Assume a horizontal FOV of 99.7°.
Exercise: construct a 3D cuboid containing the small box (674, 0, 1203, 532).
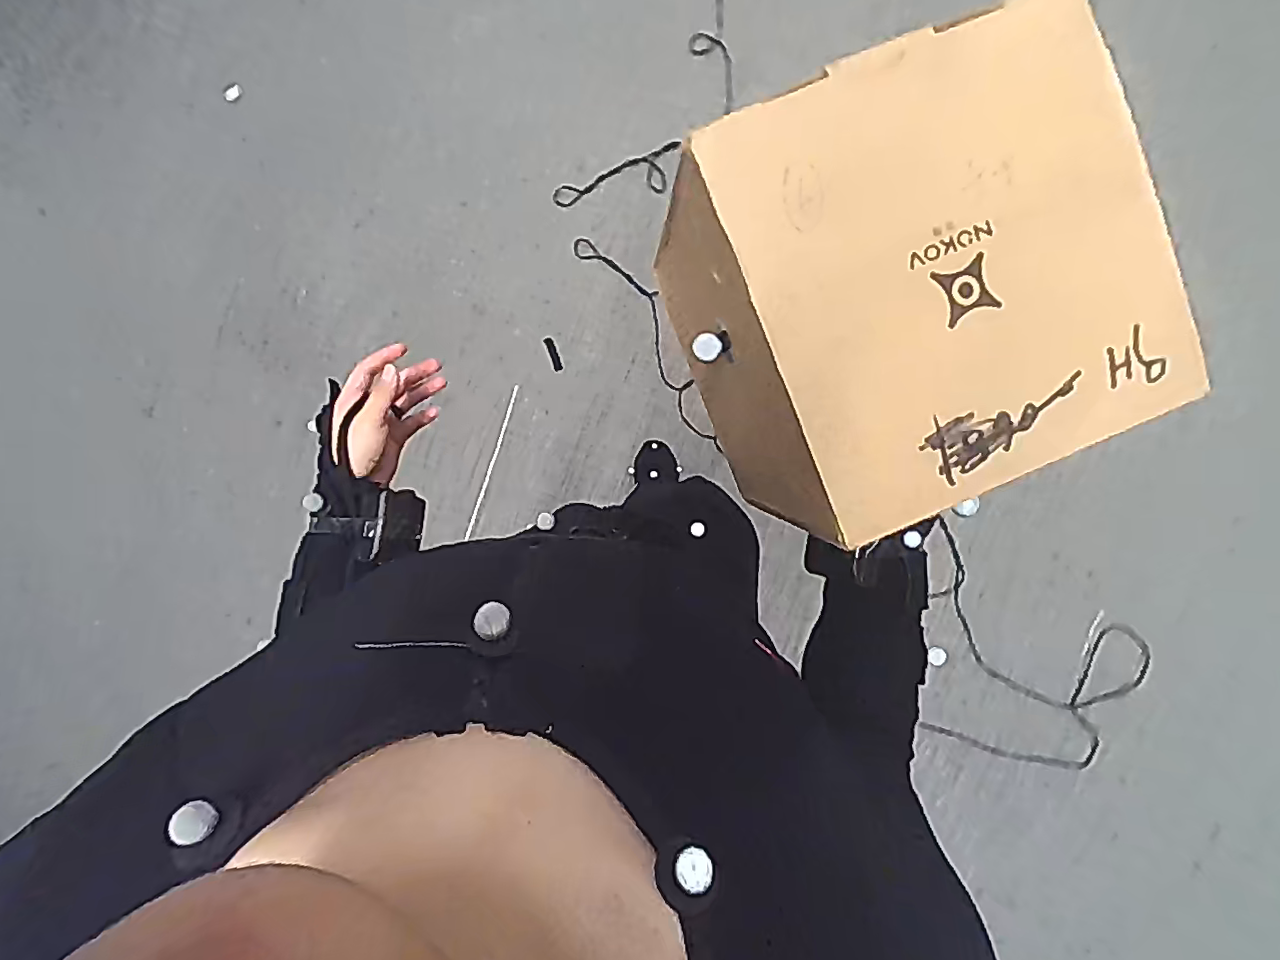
[{"bbox_3d":[0.128,-0.090,0.302,0.168,0.176,0.179,-23,95,-1],"label":"small box"}]
